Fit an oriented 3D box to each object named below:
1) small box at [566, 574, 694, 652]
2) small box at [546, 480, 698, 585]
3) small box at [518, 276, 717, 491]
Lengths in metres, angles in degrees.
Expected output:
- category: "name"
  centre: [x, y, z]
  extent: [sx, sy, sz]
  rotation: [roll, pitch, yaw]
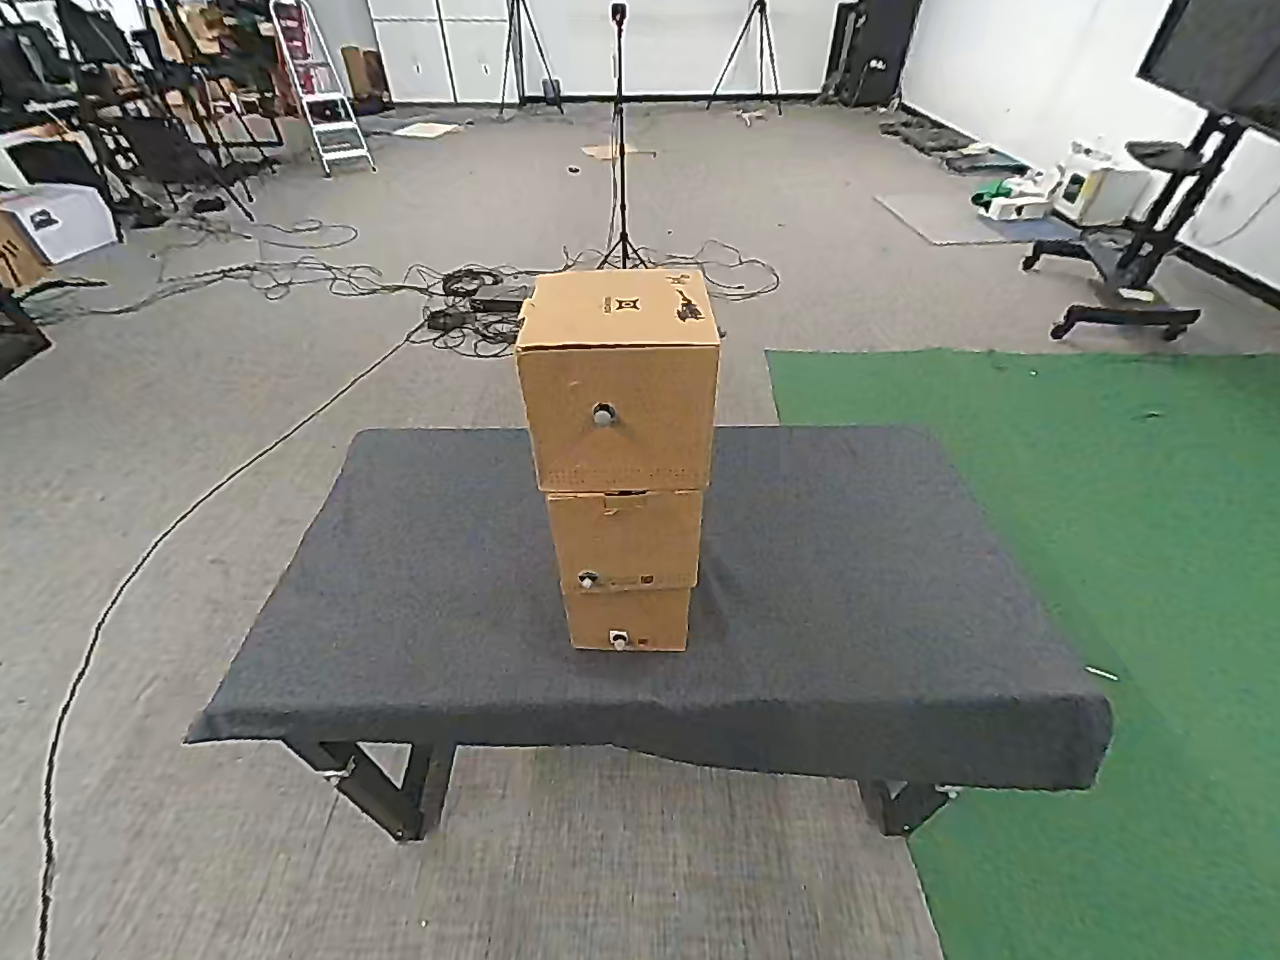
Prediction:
- category: "small box"
  centre: [-0.010, 0.133, 0.799]
  extent: [0.168, 0.176, 0.179]
  rotation: [-1, 43, 2]
- category: "small box"
  centre: [-0.018, 0.019, 0.681]
  extent: [0.168, 0.176, 0.179]
  rotation: [-3, 41, -1]
- category: "small box"
  centre: [-0.020, -0.101, 0.574]
  extent: [0.179, 0.176, 0.168]
  rotation: [-3, 40, -2]
